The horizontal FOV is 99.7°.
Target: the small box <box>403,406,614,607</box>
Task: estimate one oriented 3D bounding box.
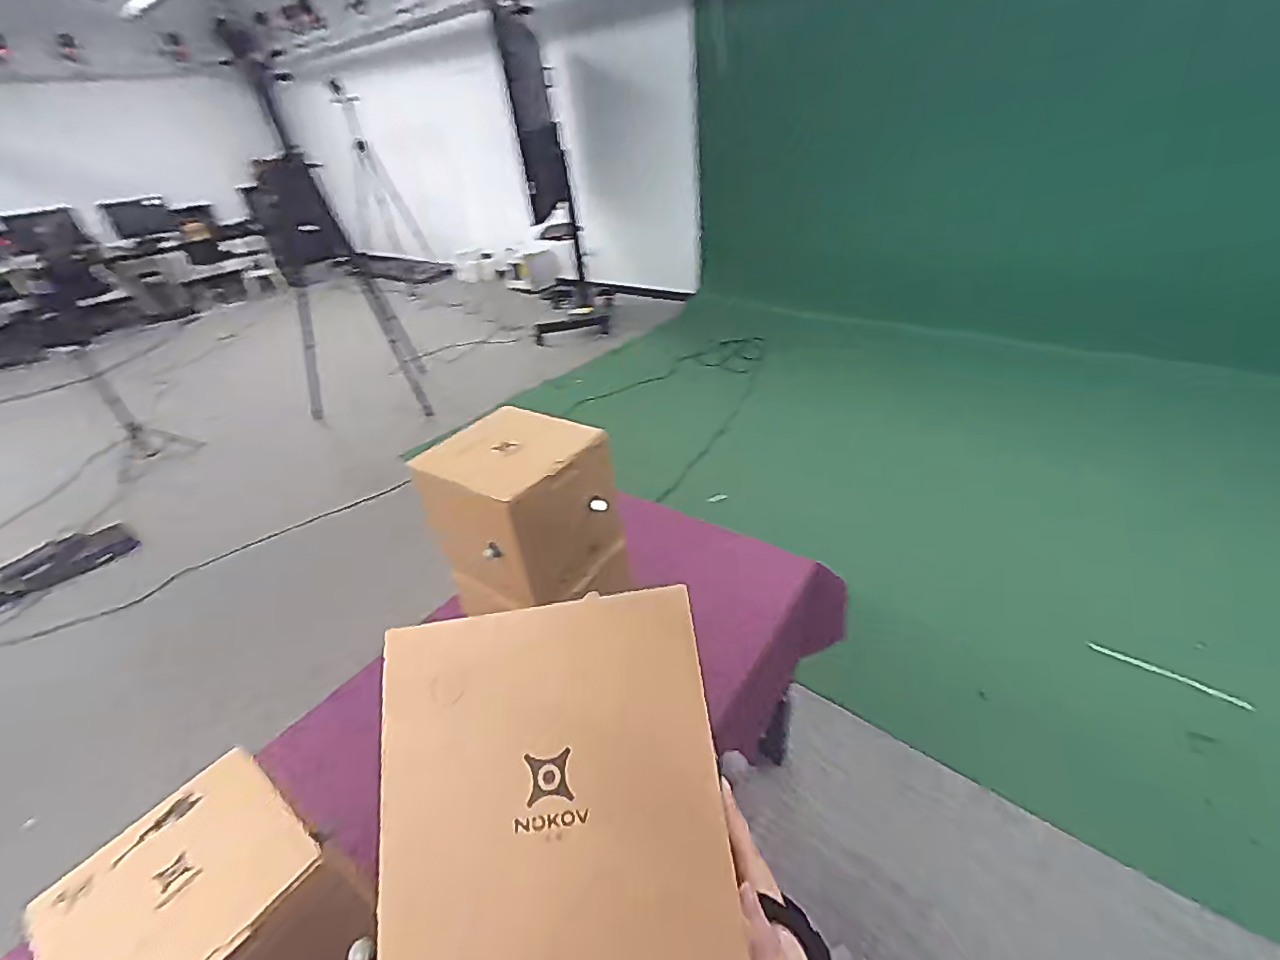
[{"bbox_3d":[-0.151,0.031,0.675,0.179,0.176,0.168,17,41,32],"label":"small box"}]

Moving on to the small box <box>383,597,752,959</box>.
[{"bbox_3d":[-0.036,0.180,0.335,0.168,0.176,0.179,-8,71,1],"label":"small box"}]

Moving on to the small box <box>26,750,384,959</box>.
[{"bbox_3d":[-0.367,0.394,0.483,0.179,0.176,0.168,19,42,31],"label":"small box"}]

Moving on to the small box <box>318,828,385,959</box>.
[{"bbox_3d":[-0.347,0.527,0.577,0.179,0.176,0.168,16,41,32],"label":"small box"}]
